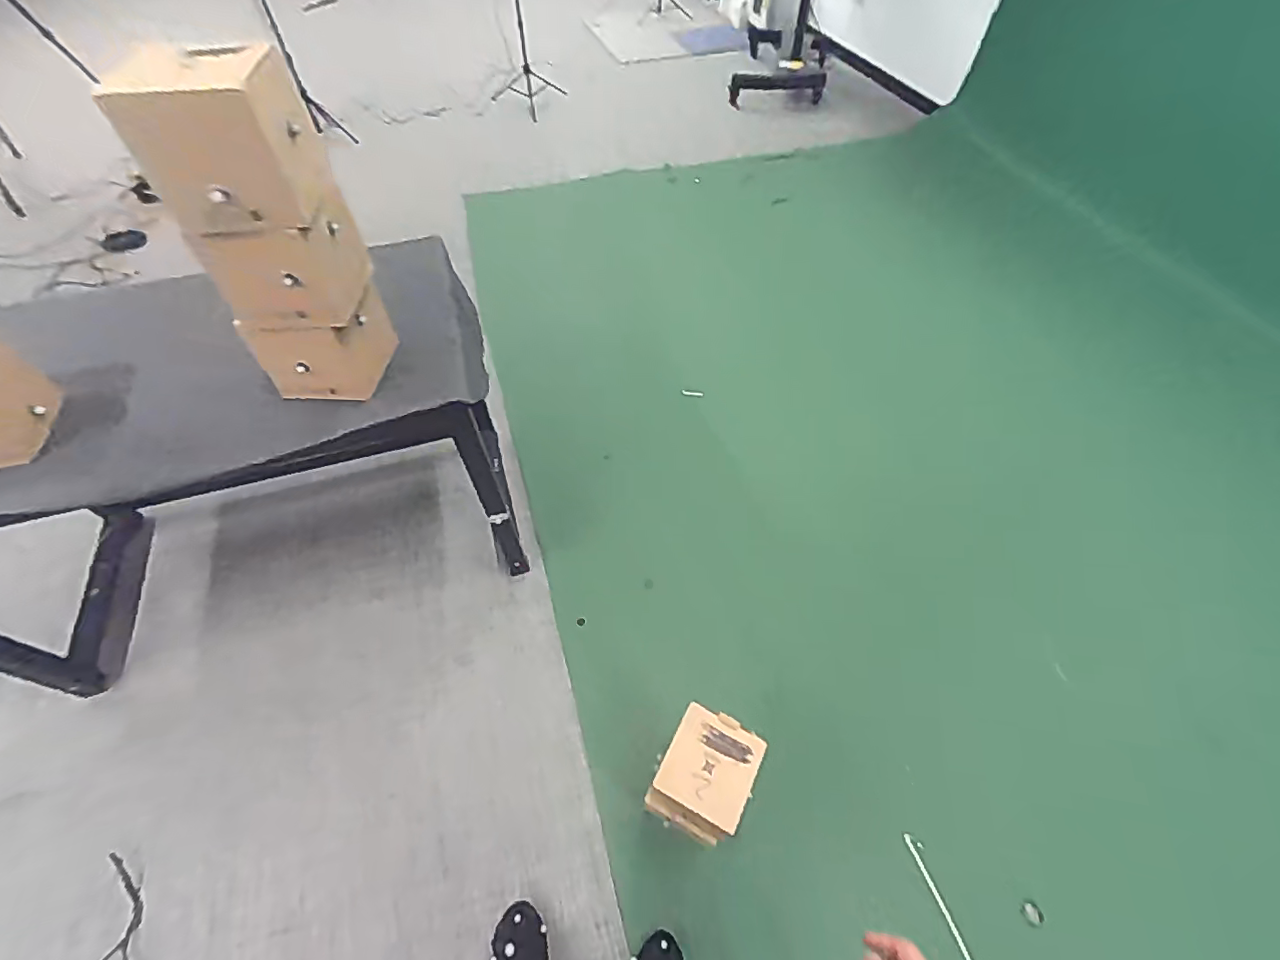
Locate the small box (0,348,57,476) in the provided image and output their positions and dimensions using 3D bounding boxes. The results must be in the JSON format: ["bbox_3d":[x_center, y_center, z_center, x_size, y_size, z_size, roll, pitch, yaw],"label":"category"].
[{"bbox_3d":[-1.141,-0.113,0.893,0.168,0.176,0.179,-15,54,-10],"label":"small box"}]

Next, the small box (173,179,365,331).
[{"bbox_3d":[-0.566,-0.352,0.858,0.168,0.176,0.179,-2,51,-2],"label":"small box"}]

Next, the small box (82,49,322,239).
[{"bbox_3d":[-0.558,-0.448,0.725,0.168,0.176,0.179,-7,53,-5],"label":"small box"}]

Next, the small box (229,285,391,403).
[{"bbox_3d":[-0.585,-0.257,0.990,0.168,0.176,0.179,2,52,2],"label":"small box"}]

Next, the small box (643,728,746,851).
[{"bbox_3d":[0.120,0.692,1.201,0.168,0.176,0.179,23,57,17],"label":"small box"}]
